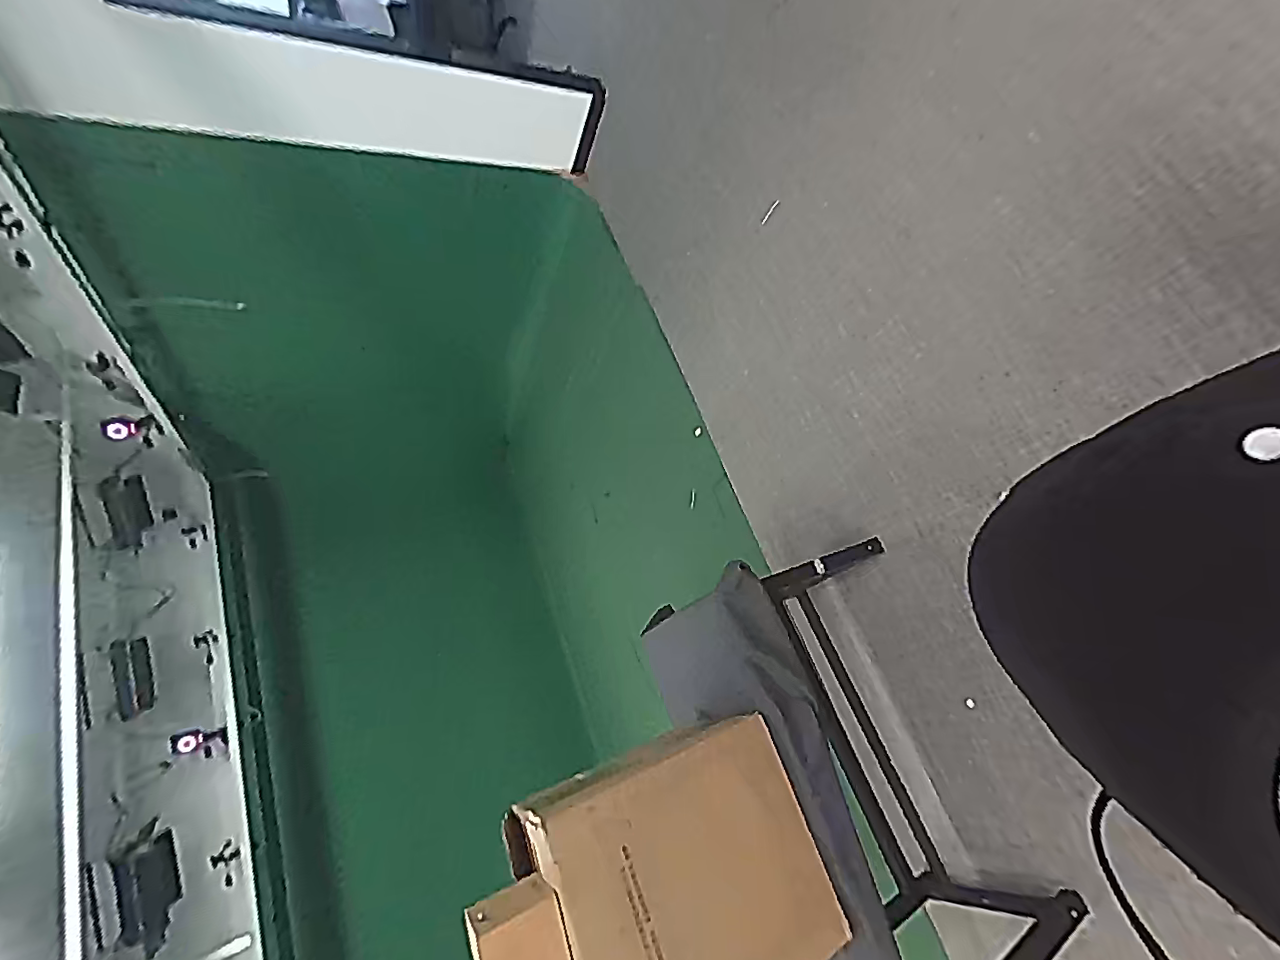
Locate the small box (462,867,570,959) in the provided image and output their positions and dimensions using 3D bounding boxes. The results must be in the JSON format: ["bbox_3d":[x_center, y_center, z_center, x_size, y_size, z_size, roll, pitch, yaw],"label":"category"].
[{"bbox_3d":[-0.258,0.965,1.132,0.168,0.176,0.179,-38,66,57],"label":"small box"}]
